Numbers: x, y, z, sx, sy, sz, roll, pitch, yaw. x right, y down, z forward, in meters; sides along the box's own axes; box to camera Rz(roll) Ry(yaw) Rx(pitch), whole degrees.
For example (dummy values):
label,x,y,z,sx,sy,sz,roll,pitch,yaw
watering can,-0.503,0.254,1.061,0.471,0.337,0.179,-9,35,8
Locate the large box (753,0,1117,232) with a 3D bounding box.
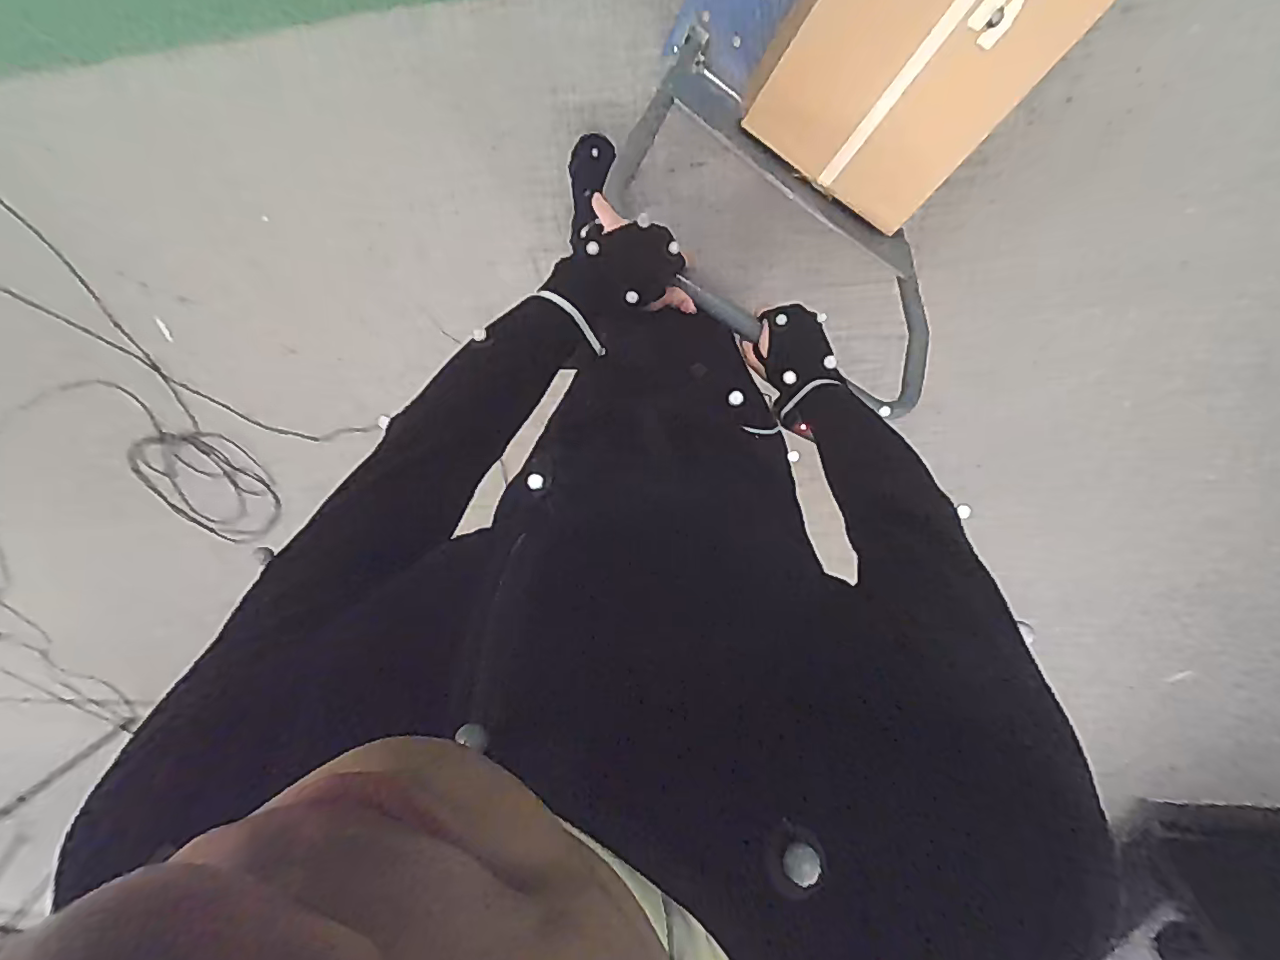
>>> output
label,x,y,z,sx,sy,sz,roll,pitch,yaw
large box,0.417,-0.687,0.826,0.320,0.320,0.408,28,134,-15
